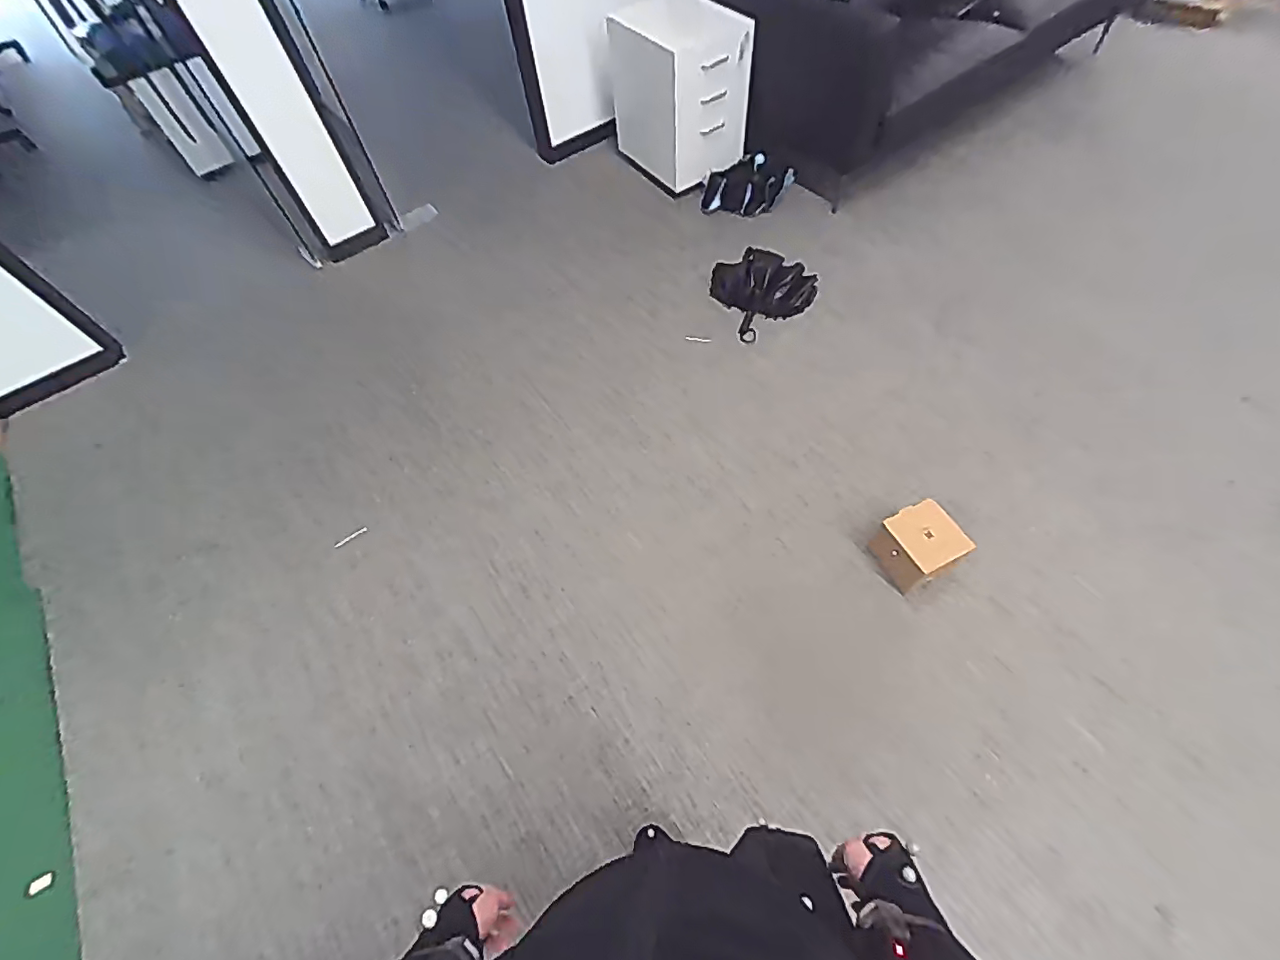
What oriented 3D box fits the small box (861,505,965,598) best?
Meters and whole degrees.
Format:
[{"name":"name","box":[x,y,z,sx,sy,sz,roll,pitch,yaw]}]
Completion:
[{"name":"small box","box":[0.761,0.207,1.533,0.168,0.176,0.179,-24,61,-9]}]
